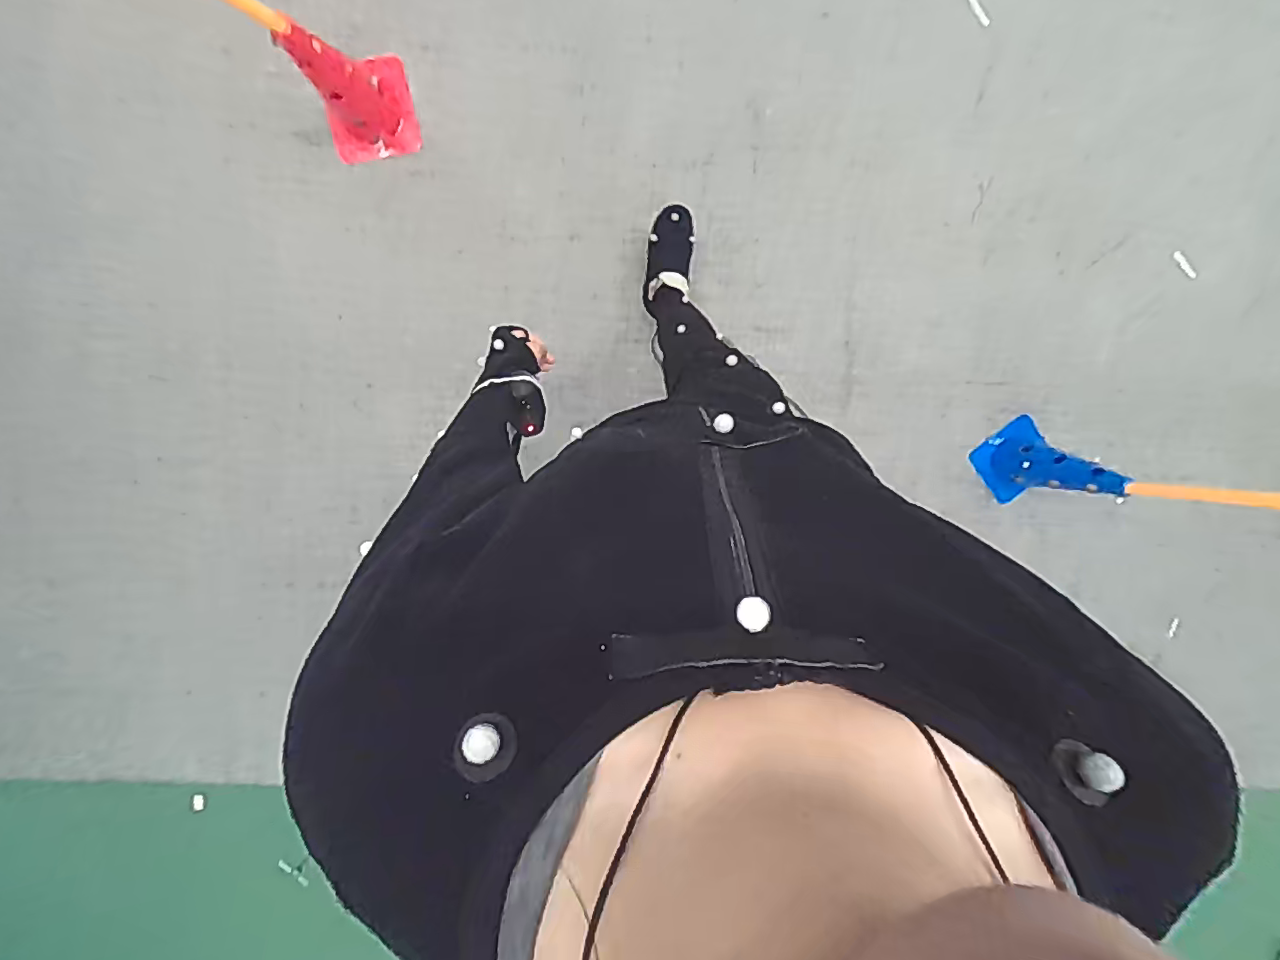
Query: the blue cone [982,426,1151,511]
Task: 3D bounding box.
[{"bbox_3d":[1.073,0.000,1.346,0.193,0.380,0.192,-41,101,5],"label":"blue cone"}]
